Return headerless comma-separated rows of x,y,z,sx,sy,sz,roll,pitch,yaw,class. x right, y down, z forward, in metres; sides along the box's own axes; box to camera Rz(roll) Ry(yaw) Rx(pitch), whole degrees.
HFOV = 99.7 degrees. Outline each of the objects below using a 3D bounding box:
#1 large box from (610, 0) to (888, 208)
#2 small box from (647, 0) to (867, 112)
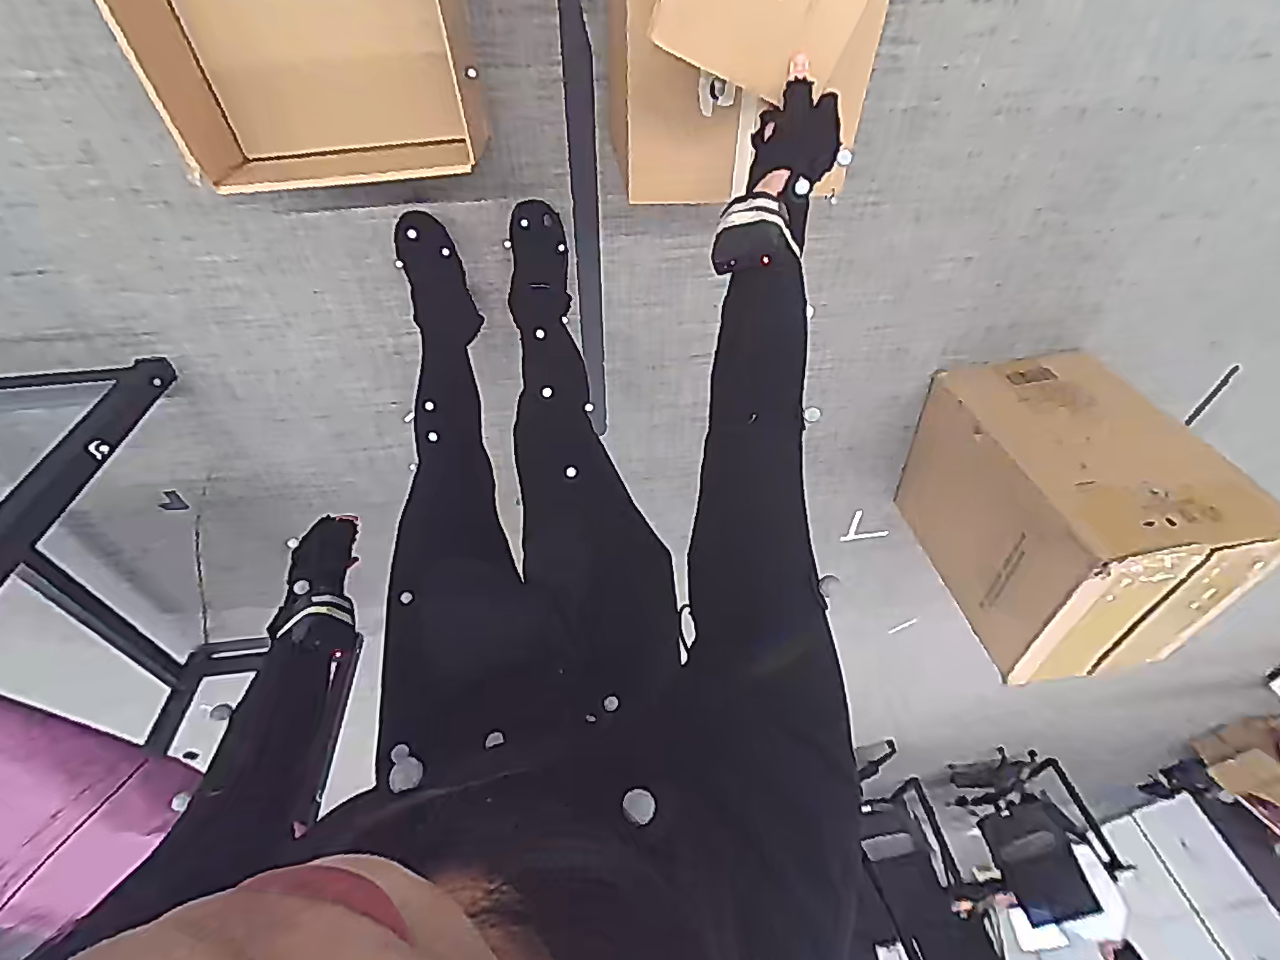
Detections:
0.123,-0.644,0.737,0.320,0.320,0.408,-4,136,-4,large box
0.122,-0.491,0.518,0.179,0.176,0.168,19,133,-9,small box
